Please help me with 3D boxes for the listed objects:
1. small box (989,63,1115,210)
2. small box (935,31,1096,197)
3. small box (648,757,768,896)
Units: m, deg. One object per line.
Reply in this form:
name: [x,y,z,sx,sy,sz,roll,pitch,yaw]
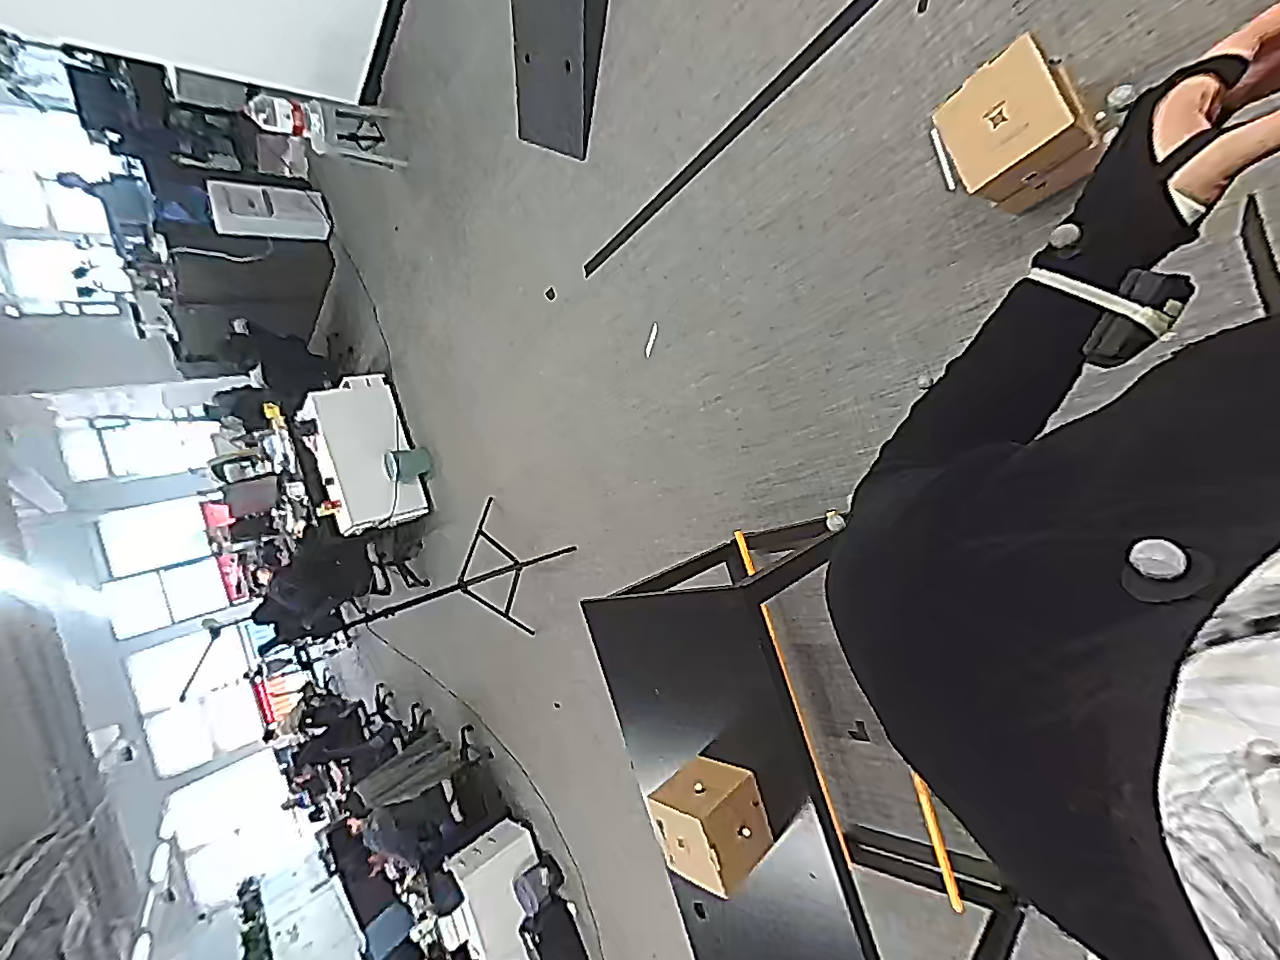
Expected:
small box: [0.797,-0.665,1.075,0.179,0.176,0.168,-24,85,49]
small box: [0.674,-0.639,0.971,0.168,0.176,0.179,-30,82,51]
small box: [0.152,0.725,1.159,0.179,0.176,0.168,-17,90,50]
